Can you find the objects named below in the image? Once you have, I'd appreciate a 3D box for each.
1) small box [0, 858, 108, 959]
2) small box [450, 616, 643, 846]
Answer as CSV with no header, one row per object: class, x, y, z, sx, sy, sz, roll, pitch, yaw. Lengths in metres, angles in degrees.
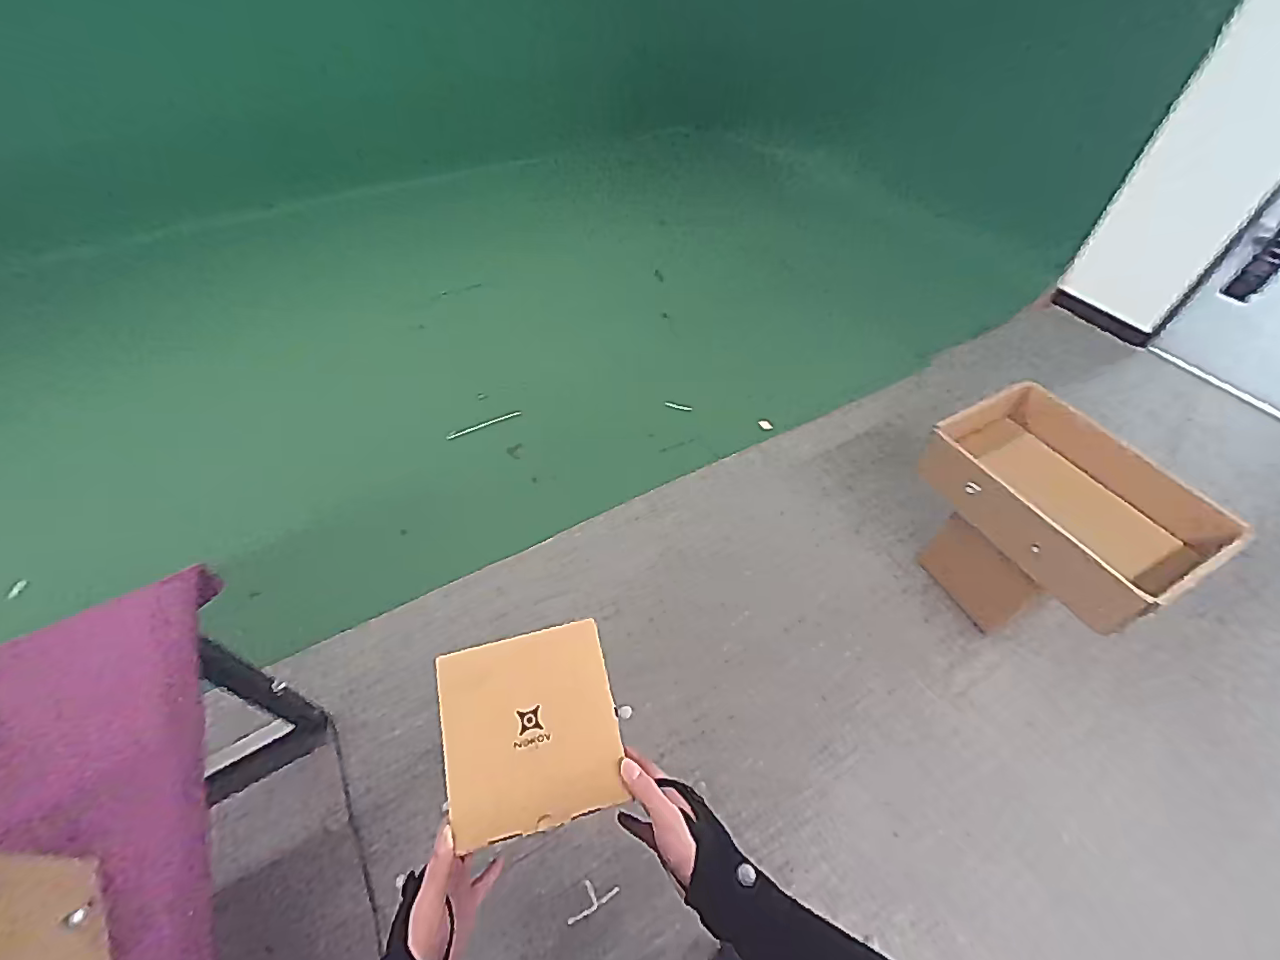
small box,-0.749,0.557,0.589,0.179,0.176,0.168,-33,59,-22
small box,-0.099,0.269,0.593,0.168,0.176,0.179,-11,65,-8
